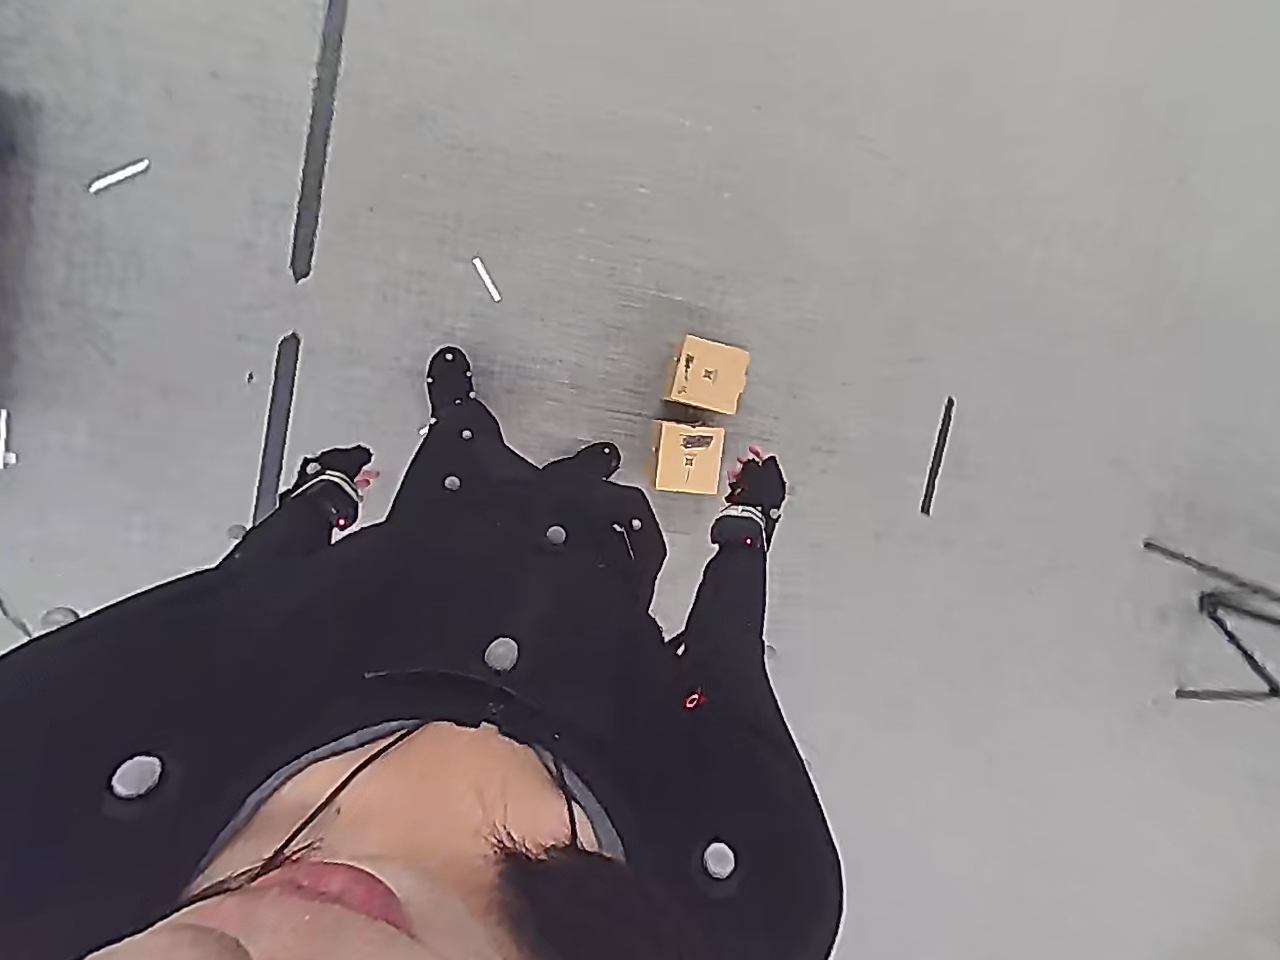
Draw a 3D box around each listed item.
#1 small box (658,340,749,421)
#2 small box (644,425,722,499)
[{"bbox_3d":[0.163,-0.262,1.445,0.179,0.176,0.168,15,94,-10],"label":"small box"},{"bbox_3d":[0.110,-0.055,1.465,0.168,0.176,0.179,6,97,-8],"label":"small box"}]
